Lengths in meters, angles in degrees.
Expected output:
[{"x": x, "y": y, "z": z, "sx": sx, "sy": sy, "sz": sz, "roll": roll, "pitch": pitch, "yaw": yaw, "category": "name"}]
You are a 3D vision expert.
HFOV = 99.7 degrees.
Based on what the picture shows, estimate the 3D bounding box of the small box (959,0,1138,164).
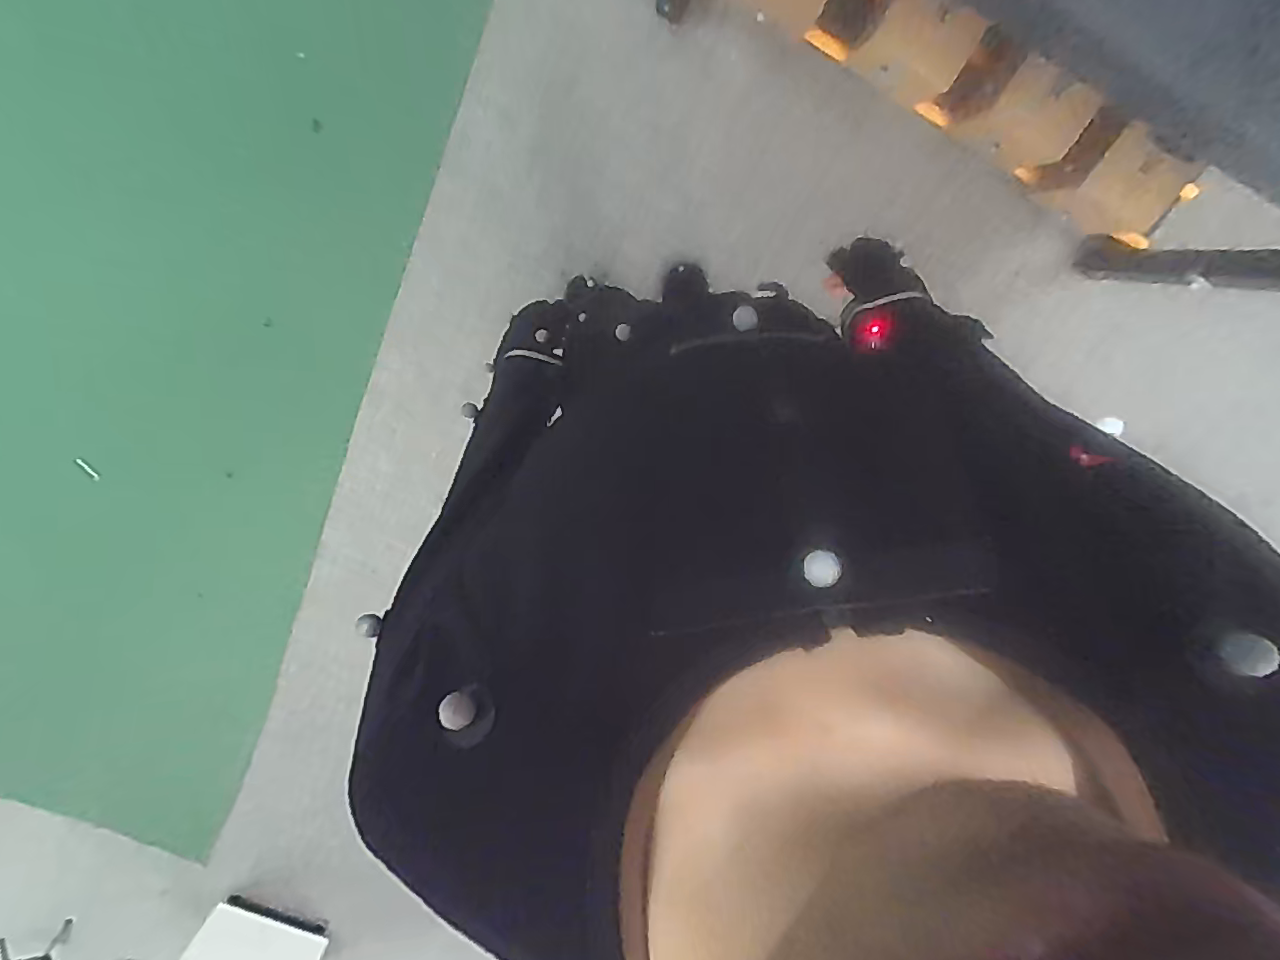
[{"x": 0.734, "y": -0.718, "z": 1.003, "sx": 0.168, "sy": 0.176, "sz": 0.179, "roll": 26, "pitch": 112, "yaw": -7, "category": "small box"}]

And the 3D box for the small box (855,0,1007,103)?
[{"x": 0.513, "y": -0.820, "z": 0.971, "sx": 0.168, "sy": 0.176, "sz": 0.179, "roll": 26, "pitch": 113, "yaw": -9, "category": "small box"}]
